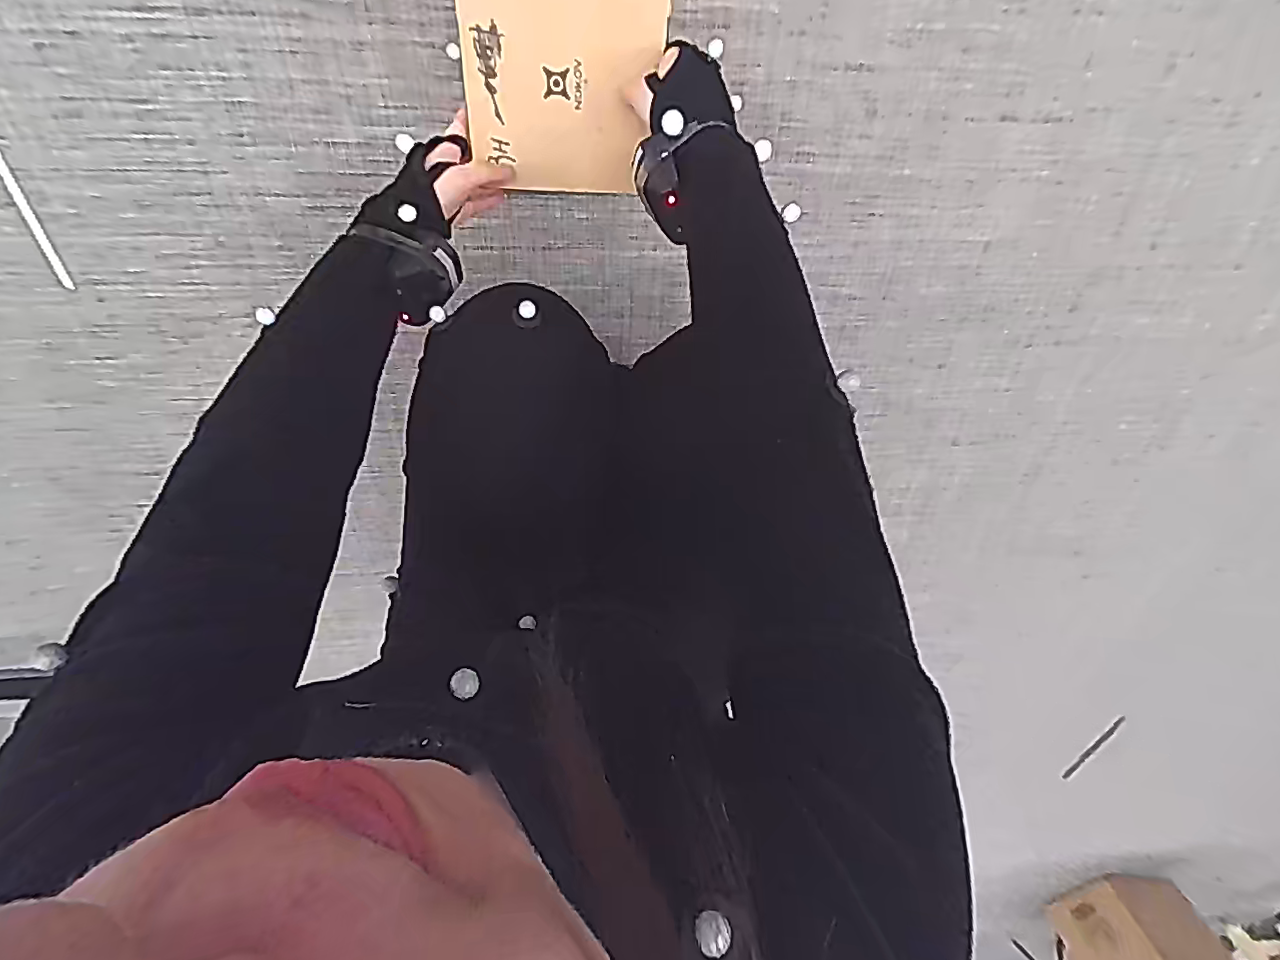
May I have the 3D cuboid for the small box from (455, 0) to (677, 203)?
[{"bbox_3d":[-0.071,-0.378,0.522,0.179,0.176,0.168,-1,126,-8],"label":"small box"}]
